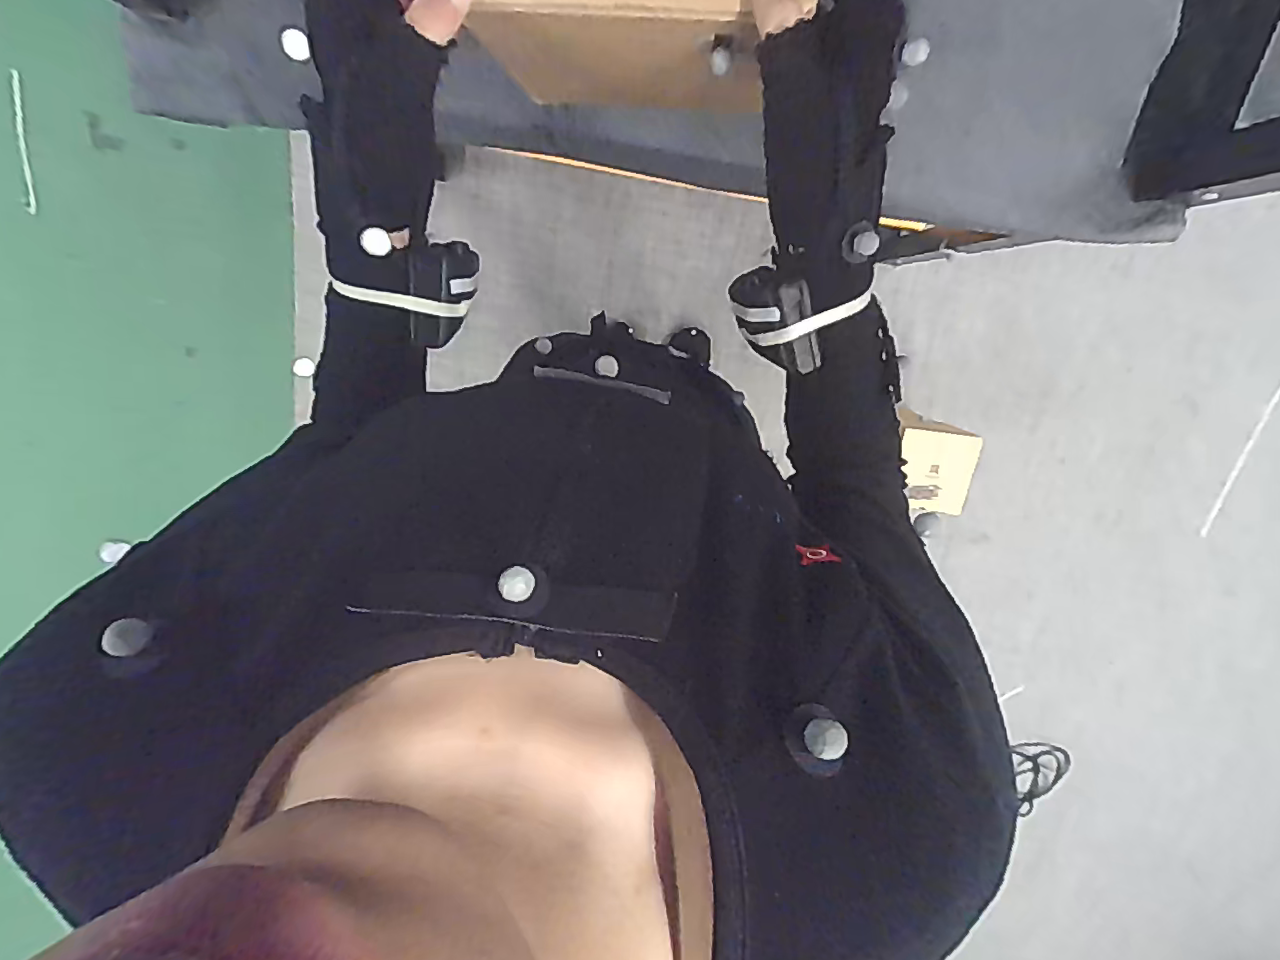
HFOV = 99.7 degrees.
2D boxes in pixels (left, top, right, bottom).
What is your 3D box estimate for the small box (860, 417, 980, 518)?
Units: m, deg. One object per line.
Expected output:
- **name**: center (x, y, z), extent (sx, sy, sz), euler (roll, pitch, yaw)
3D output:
- **small box**: center (0.612, -0.033, 1.210), extent (0.168, 0.176, 0.179), euler (8, 106, 0)
